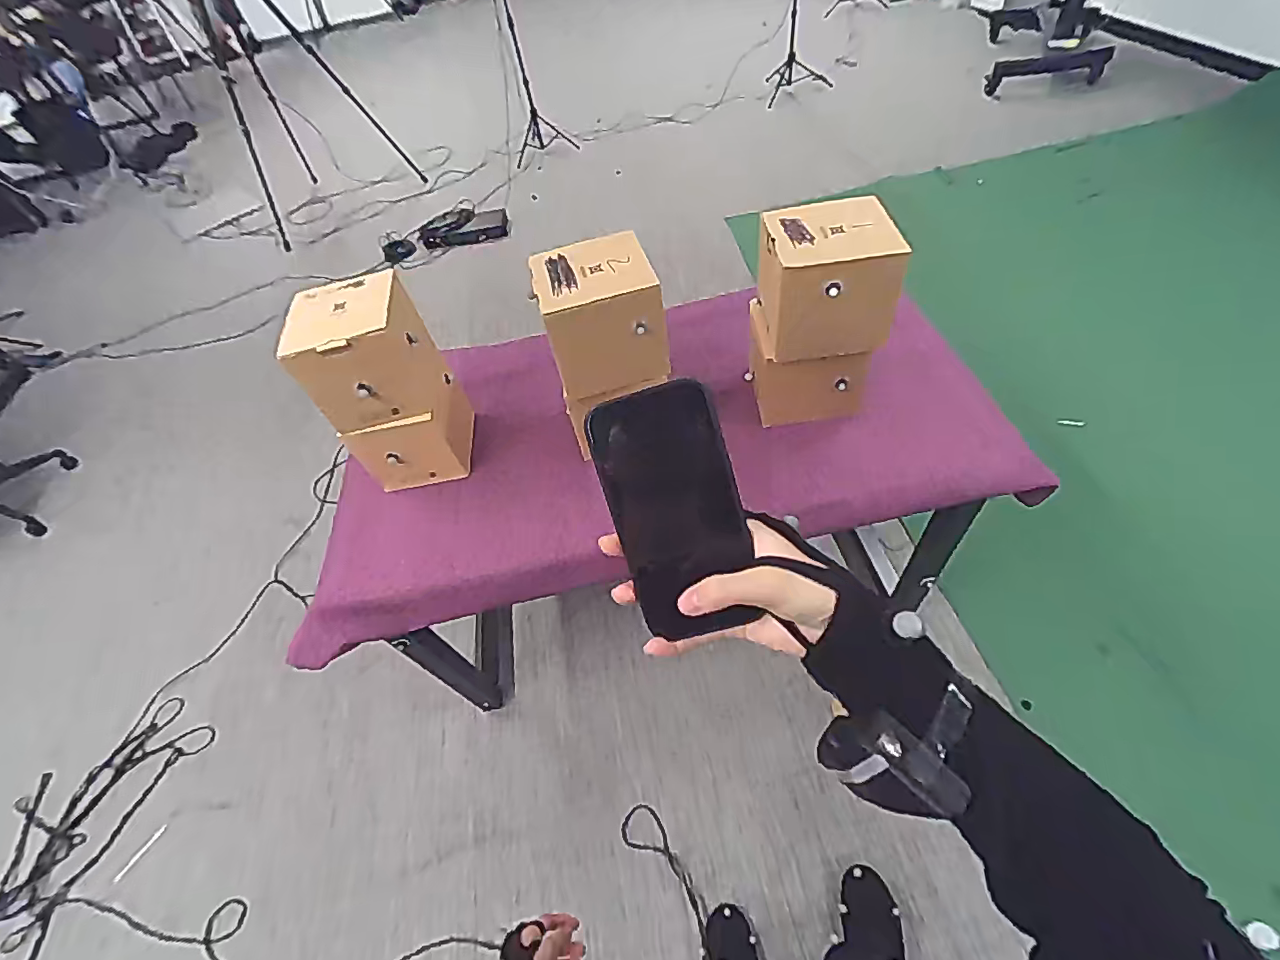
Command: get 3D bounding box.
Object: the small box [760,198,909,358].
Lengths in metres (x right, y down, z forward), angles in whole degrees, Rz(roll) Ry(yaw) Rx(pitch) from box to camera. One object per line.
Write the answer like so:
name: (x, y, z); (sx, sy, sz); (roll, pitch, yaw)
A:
small box: (0.286, -0.307, 0.843); (0.179, 0.176, 0.168); (-6, 52, 5)

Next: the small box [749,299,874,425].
small box: (0.298, -0.219, 0.980); (0.179, 0.176, 0.168); (-6, 51, 6)

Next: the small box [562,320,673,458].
small box: (-0.037, -0.164, 0.997); (0.179, 0.176, 0.168); (-11, 52, 2)

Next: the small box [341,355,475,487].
small box: (-0.423, -0.103, 1.020); (0.168, 0.176, 0.179); (-11, 52, 2)

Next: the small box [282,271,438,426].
small box: (-0.447, -0.209, 0.896); (0.168, 0.176, 0.179); (-14, 52, -2)
